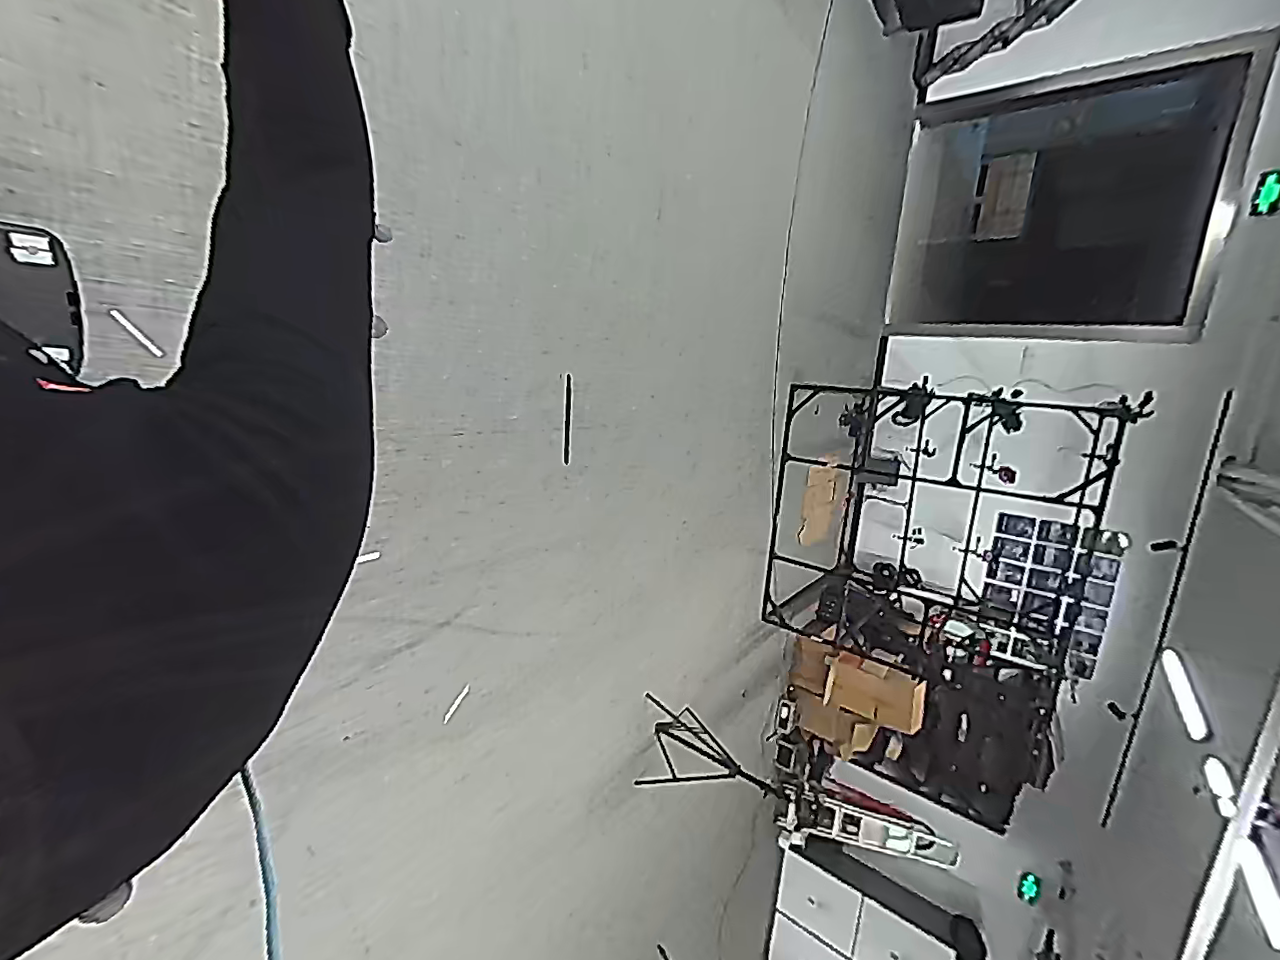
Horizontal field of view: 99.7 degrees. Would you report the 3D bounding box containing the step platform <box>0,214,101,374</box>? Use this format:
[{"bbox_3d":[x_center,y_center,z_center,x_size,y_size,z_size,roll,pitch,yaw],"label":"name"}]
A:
[{"bbox_3d":[-1.316,-0.317,0.836,0.684,0.204,0.286,-13,110,-53],"label":"step platform"}]
